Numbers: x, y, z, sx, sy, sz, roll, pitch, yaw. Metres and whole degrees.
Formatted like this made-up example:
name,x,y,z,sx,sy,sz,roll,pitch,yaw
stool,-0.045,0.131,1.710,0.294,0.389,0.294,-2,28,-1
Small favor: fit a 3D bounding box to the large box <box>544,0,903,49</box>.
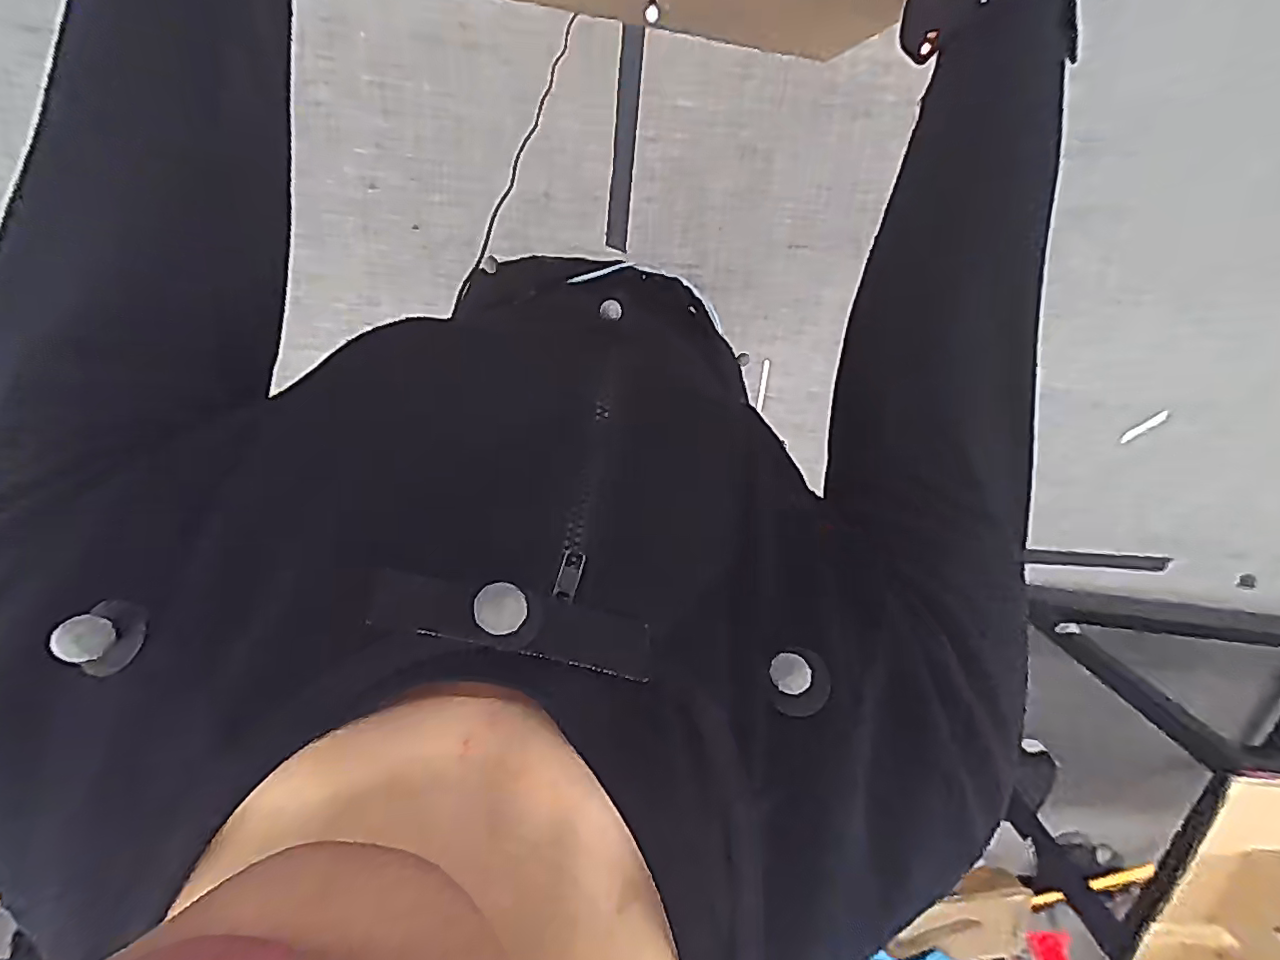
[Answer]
name,x,y,z,sx,sy,sz,roll,pitch,yaw
large box,0.038,-0.566,0.403,0.408,0.320,0.320,9,120,-2
